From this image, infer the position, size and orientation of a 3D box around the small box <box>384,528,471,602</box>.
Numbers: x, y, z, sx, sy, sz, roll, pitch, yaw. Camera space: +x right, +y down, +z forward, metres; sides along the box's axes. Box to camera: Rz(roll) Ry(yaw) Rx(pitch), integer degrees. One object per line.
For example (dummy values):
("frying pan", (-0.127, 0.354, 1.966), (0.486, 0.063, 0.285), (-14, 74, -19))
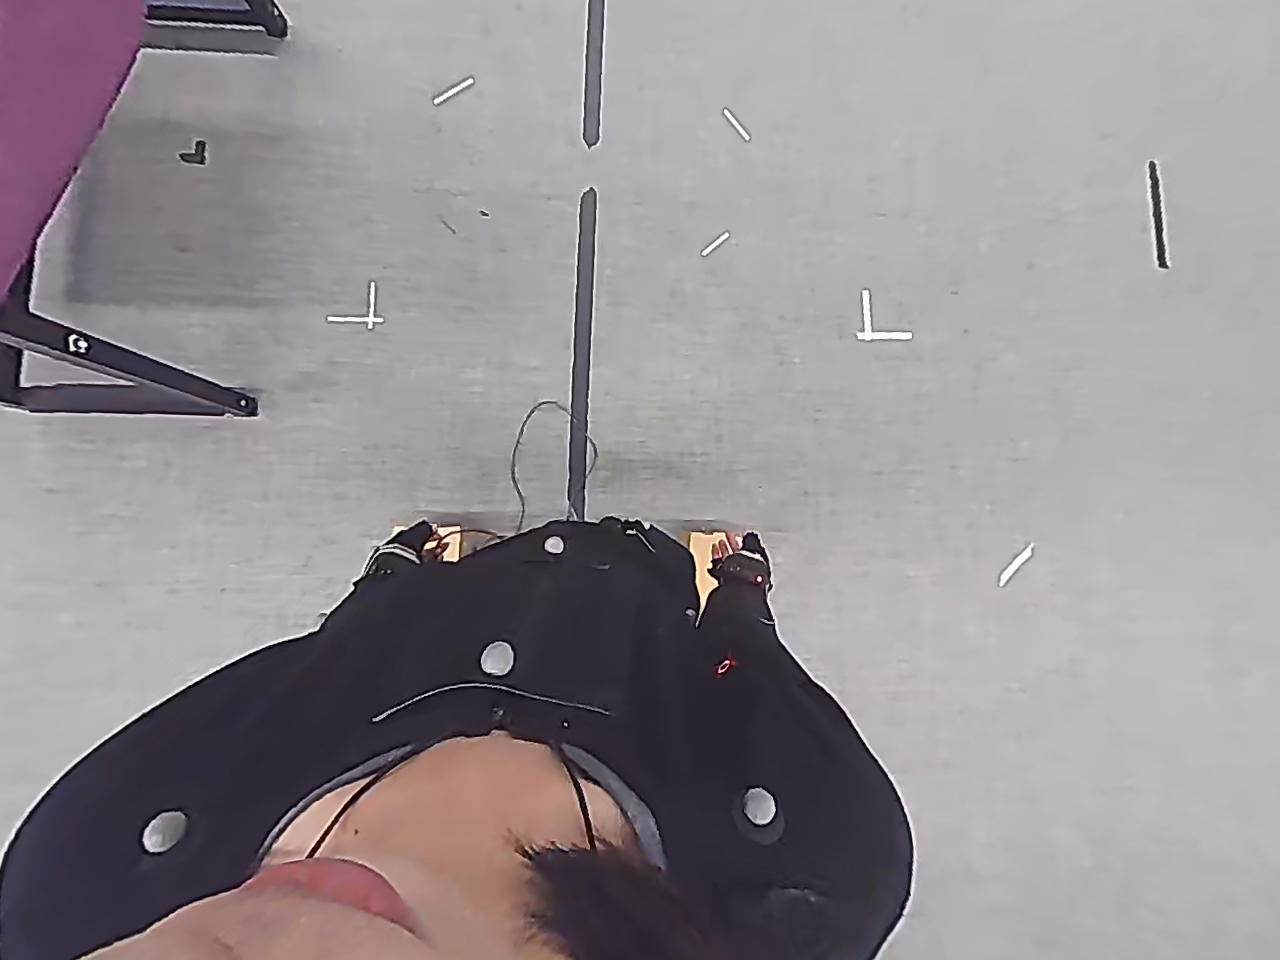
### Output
("small box", (-0.538, 0.220, 1.392), (0.168, 0.176, 0.179), (2, 82, -5))

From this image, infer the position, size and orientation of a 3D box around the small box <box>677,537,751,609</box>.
("small box", (0.193, 0.245, 1.453), (0.168, 0.176, 0.179), (4, 85, -3))
